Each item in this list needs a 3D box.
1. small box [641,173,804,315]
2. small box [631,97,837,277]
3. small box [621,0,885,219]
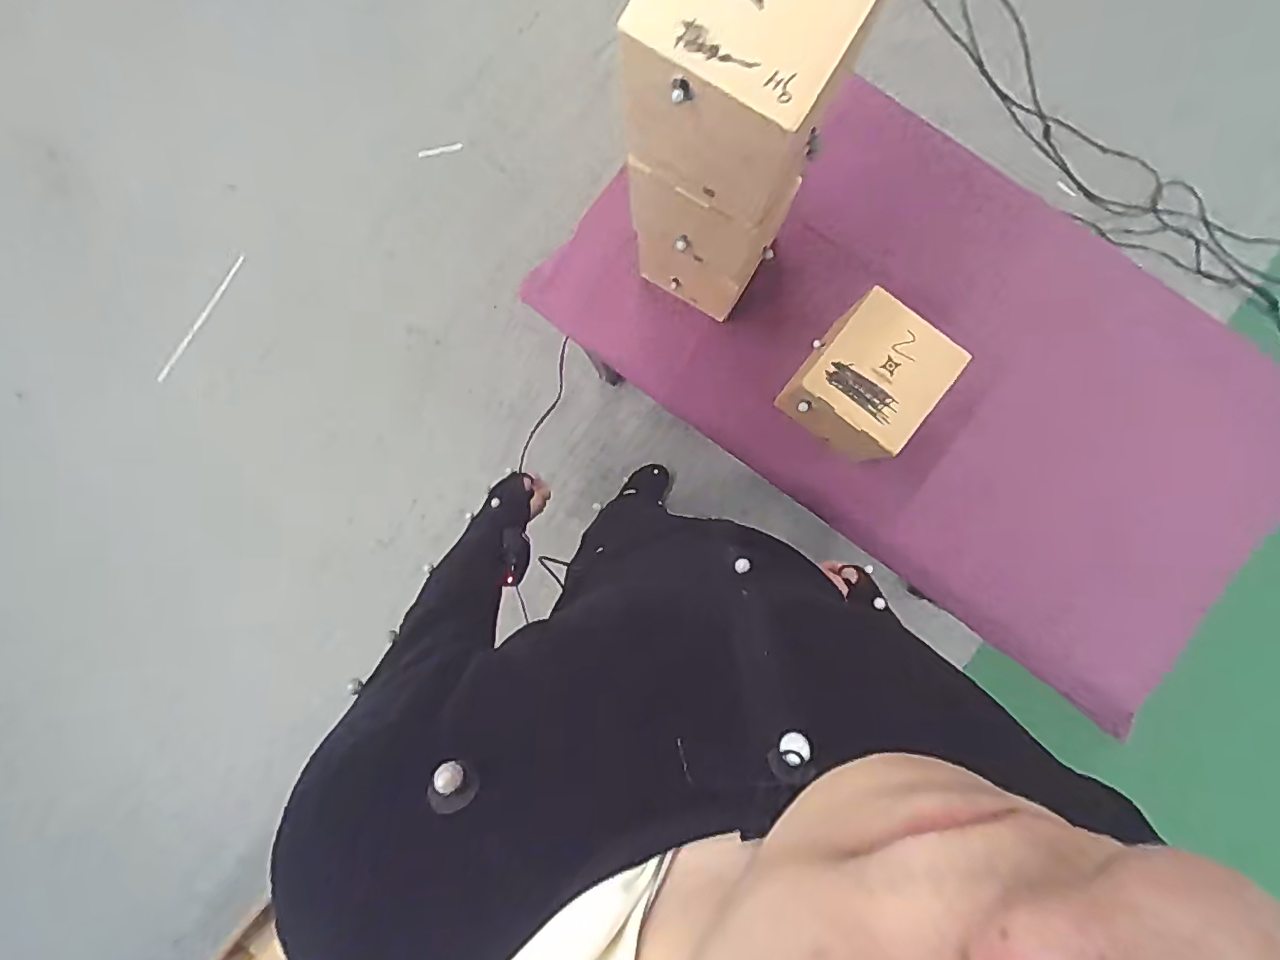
[{"bbox_3d":[0.114,-0.382,0.818,0.168,0.176,0.179,31,92,2],"label":"small box"},{"bbox_3d":[0.102,-0.384,0.654,0.168,0.176,0.179,30,92,2],"label":"small box"},{"bbox_3d":[0.097,-0.385,0.490,0.168,0.176,0.179,32,91,2],"label":"small box"}]
